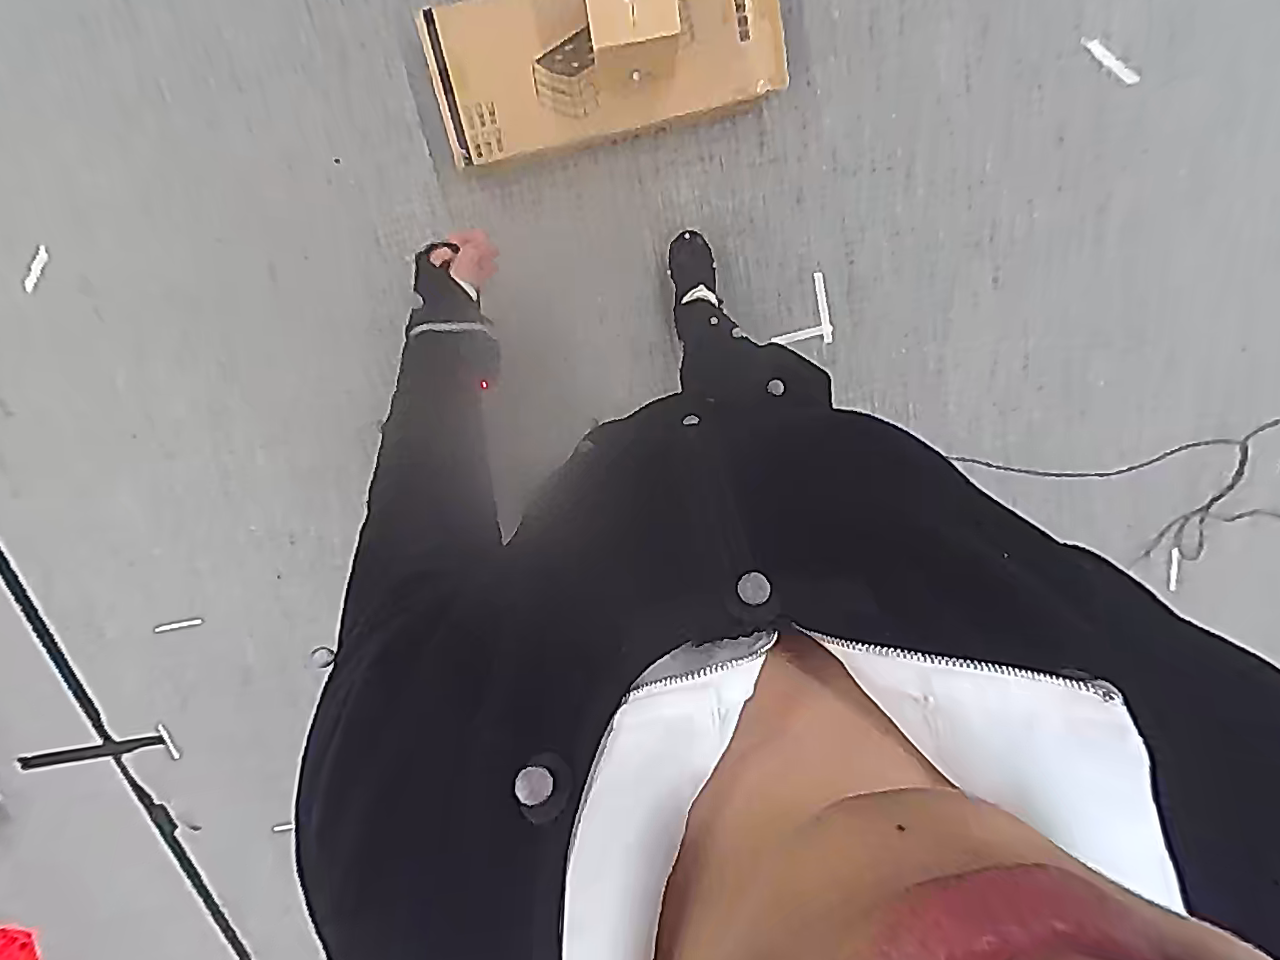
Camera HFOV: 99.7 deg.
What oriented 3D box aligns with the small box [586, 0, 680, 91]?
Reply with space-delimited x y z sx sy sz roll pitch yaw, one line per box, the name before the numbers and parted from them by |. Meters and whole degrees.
small box | -0.018 -0.897 1.047 0.168 0.176 0.179 -8 106 3
